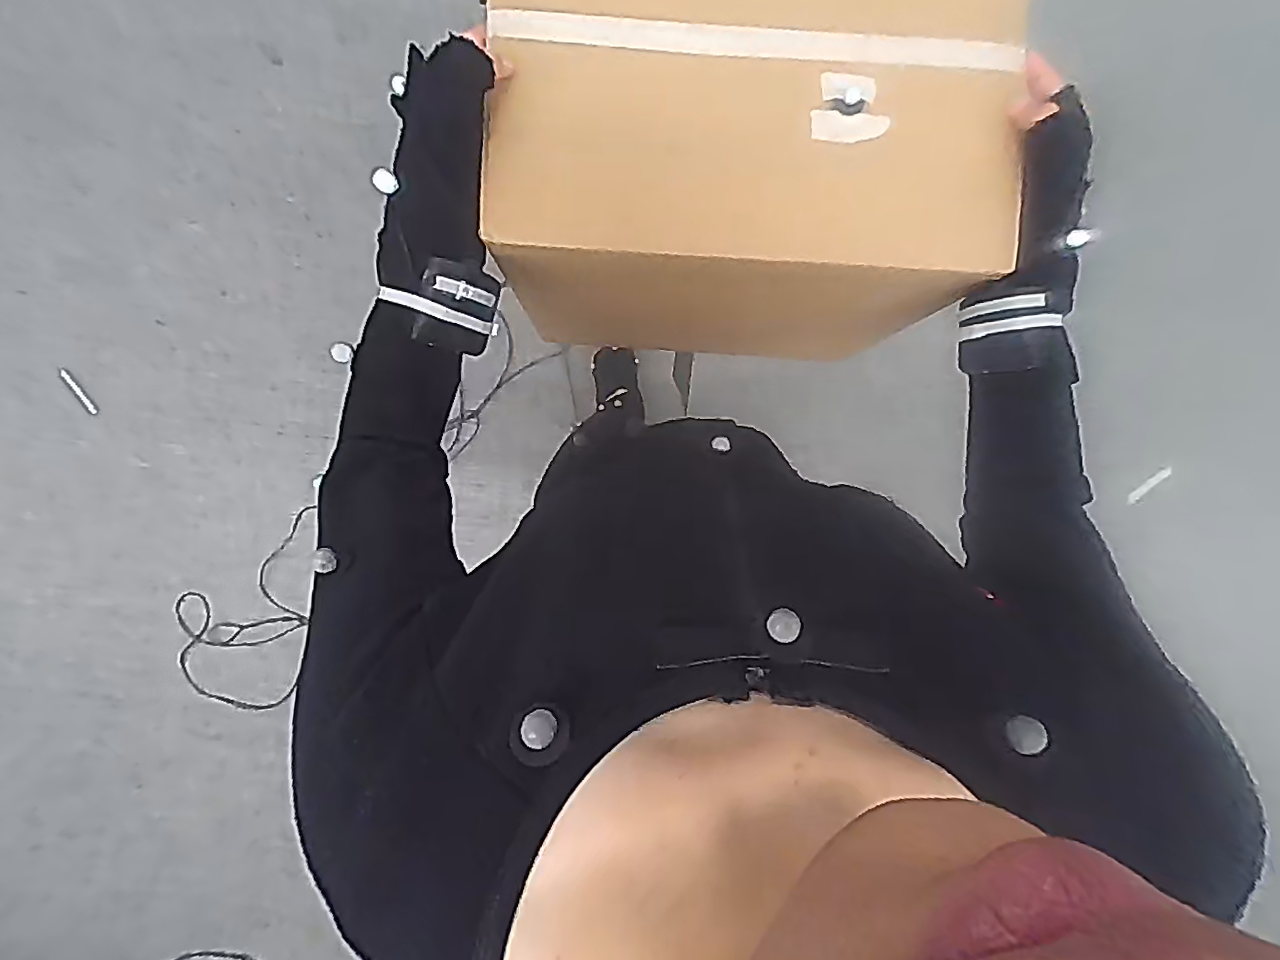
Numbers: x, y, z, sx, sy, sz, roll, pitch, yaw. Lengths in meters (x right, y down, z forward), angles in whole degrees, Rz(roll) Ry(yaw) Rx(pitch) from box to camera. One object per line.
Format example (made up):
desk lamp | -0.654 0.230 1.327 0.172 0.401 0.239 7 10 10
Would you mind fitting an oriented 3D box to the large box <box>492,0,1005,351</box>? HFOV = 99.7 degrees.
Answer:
large box | 0.081 -0.330 0.570 0.408 0.320 0.320 3 90 -2
